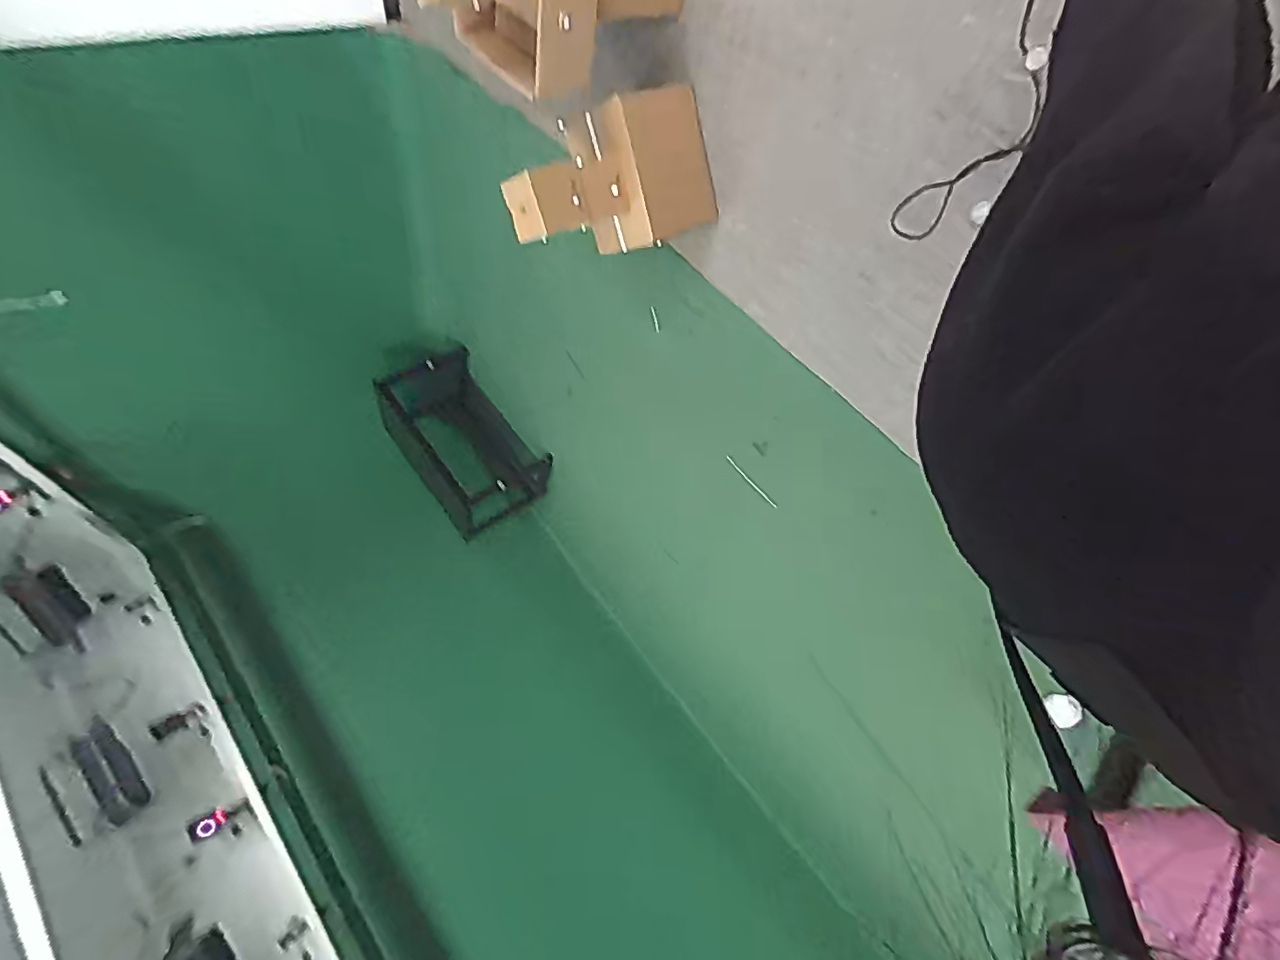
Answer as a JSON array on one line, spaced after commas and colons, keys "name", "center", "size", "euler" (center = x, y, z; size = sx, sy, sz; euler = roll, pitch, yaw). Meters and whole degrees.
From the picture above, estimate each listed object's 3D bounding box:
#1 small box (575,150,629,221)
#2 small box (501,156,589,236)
[{"name": "small box", "center": [-0.161, -0.913, 1.689], "size": [0.179, 0.176, 0.168], "euler": [21, 135, 47]}, {"name": "small box", "center": [-0.279, -0.840, 1.603], "size": [0.179, 0.176, 0.168], "euler": [18, 133, 49]}]
